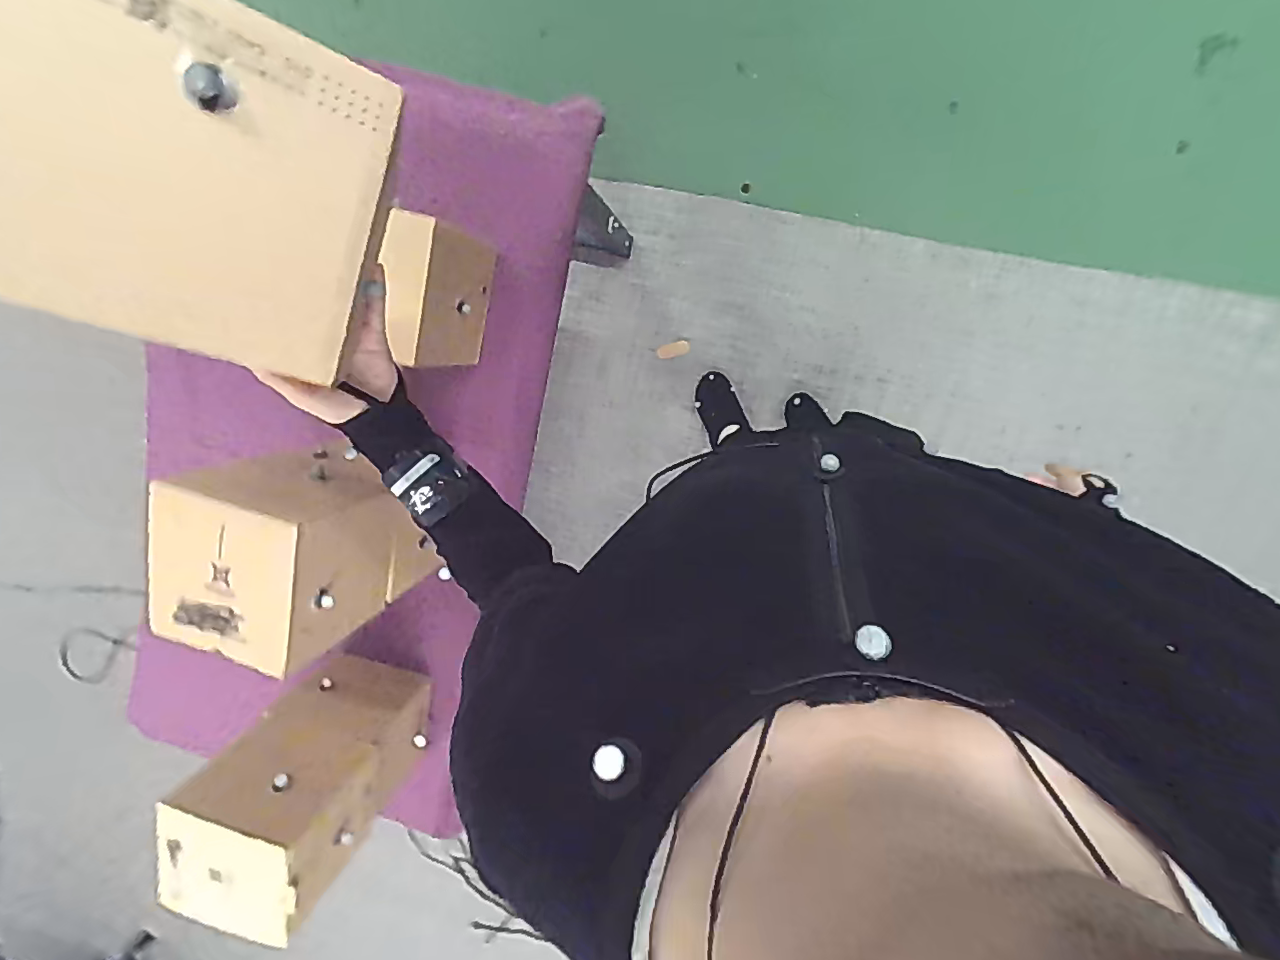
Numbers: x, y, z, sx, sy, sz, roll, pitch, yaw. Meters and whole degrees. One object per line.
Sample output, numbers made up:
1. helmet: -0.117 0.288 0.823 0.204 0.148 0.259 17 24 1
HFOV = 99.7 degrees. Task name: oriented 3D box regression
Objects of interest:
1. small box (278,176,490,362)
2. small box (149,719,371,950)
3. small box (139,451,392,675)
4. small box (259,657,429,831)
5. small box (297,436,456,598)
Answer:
1. small box: -0.313 -0.256 0.688 0.179 0.176 0.168 17 105 5
2. small box: -0.482 0.447 0.707 0.179 0.176 0.168 14 105 5
3. small box: -0.408 0.079 0.612 0.168 0.176 0.179 16 103 6
4. small box: -0.469 0.409 0.866 0.179 0.176 0.168 12 105 5
5. small box: -0.384 0.041 0.770 0.179 0.176 0.168 13 105 7
